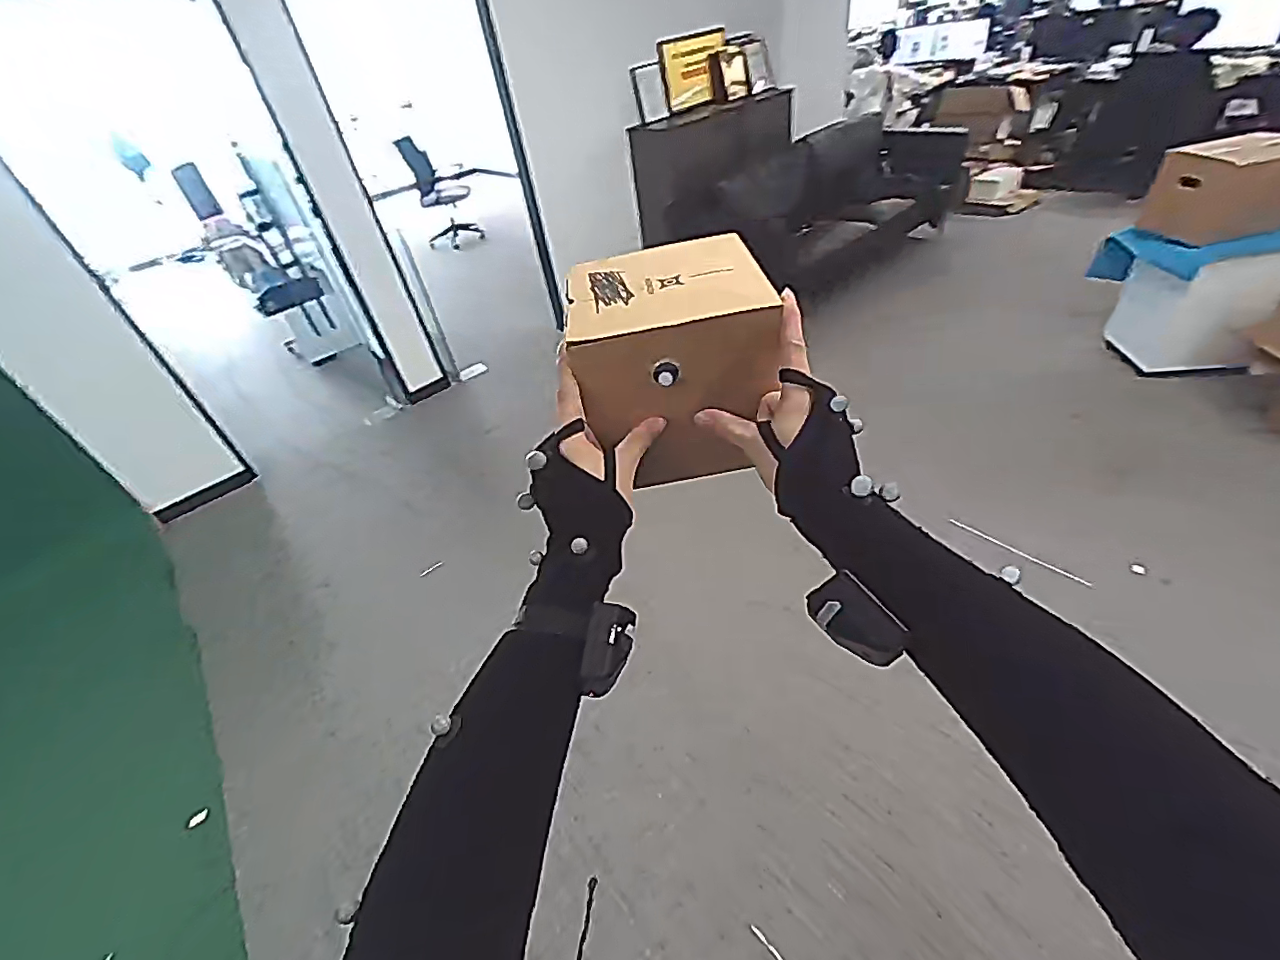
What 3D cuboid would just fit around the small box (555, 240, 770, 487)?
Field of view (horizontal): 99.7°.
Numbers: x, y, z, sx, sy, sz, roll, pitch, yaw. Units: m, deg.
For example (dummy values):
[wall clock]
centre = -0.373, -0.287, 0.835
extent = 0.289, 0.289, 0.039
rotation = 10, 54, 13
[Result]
[small box]
centre = 0.024, -0.112, 0.535
extent = 0.179, 0.176, 0.168
rotation = -10, 42, 2
